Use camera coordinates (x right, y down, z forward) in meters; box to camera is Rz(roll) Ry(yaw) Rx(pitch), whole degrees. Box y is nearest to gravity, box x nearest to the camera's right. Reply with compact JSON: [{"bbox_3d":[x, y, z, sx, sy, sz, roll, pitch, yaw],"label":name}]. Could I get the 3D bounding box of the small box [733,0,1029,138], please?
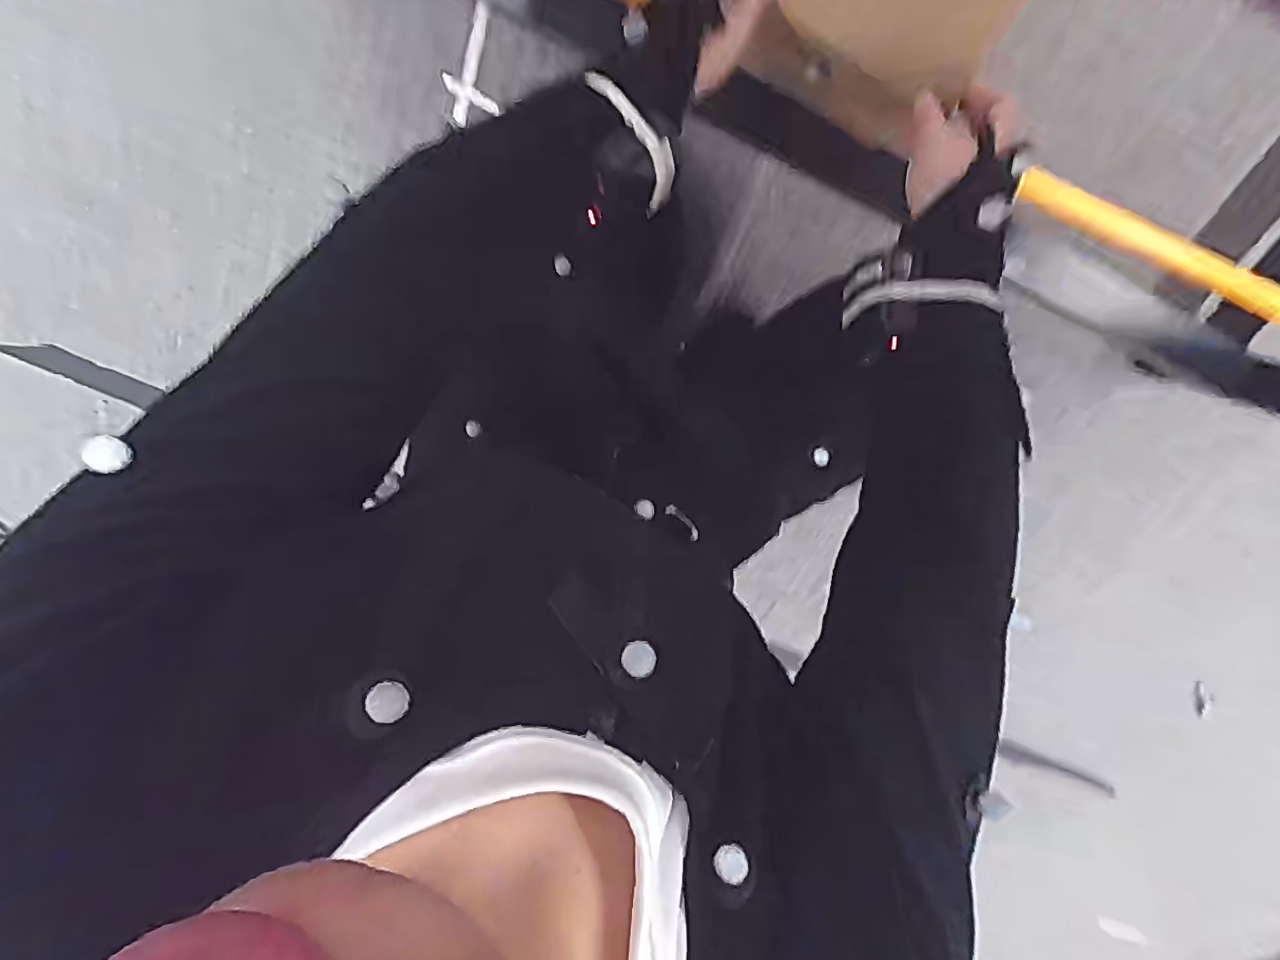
[{"bbox_3d":[0.190,-0.397,0.420,0.179,0.176,0.168,26,115,-11],"label":"small box"}]
